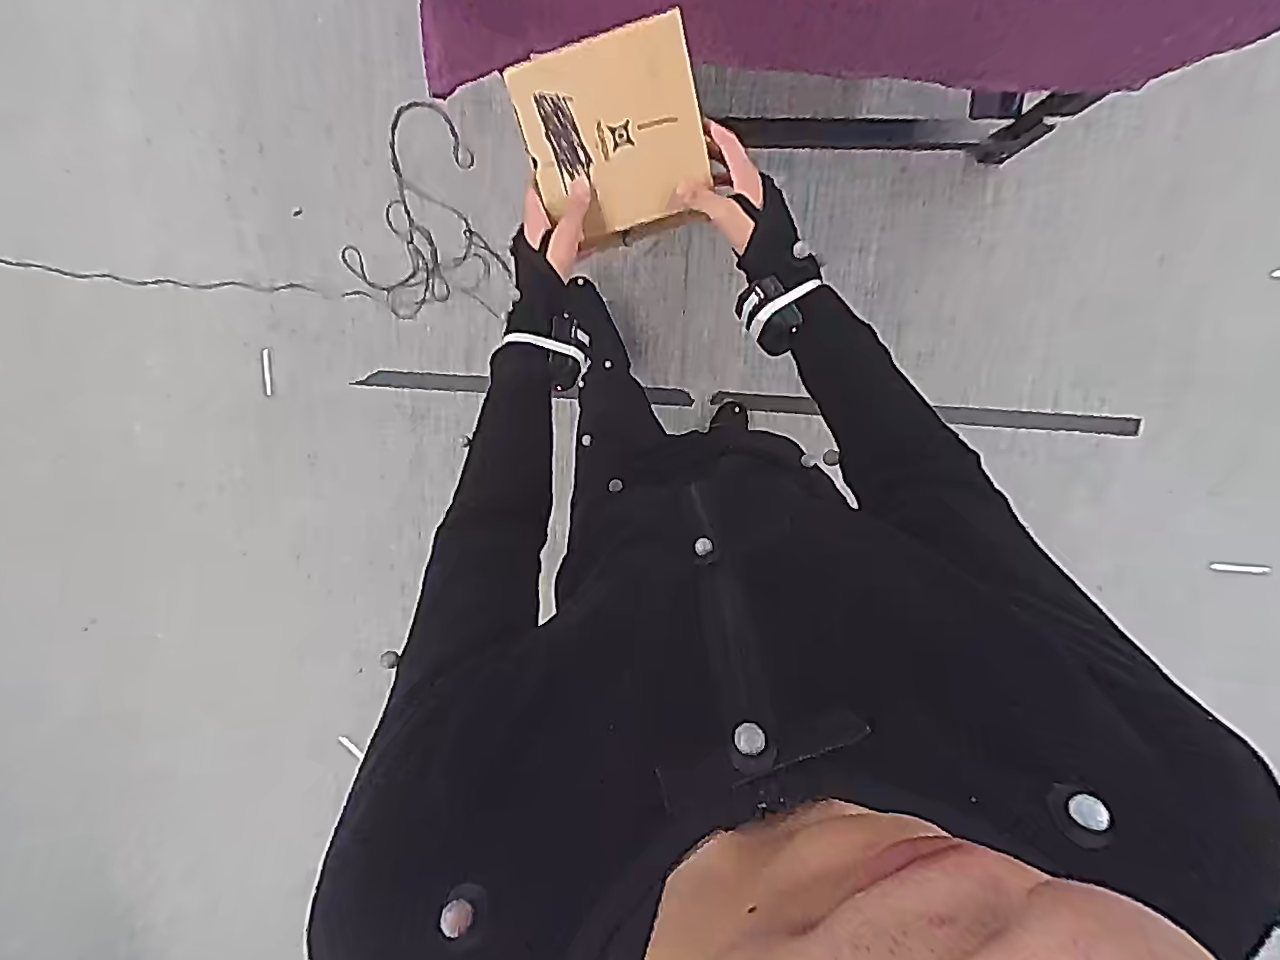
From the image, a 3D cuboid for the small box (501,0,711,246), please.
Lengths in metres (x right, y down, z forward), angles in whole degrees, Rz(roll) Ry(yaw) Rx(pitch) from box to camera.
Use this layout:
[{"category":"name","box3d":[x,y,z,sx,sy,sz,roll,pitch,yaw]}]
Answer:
[{"category":"small box","box3d":[-0.026,-0.371,0.600,0.179,0.176,0.168,-13,108,7]}]
